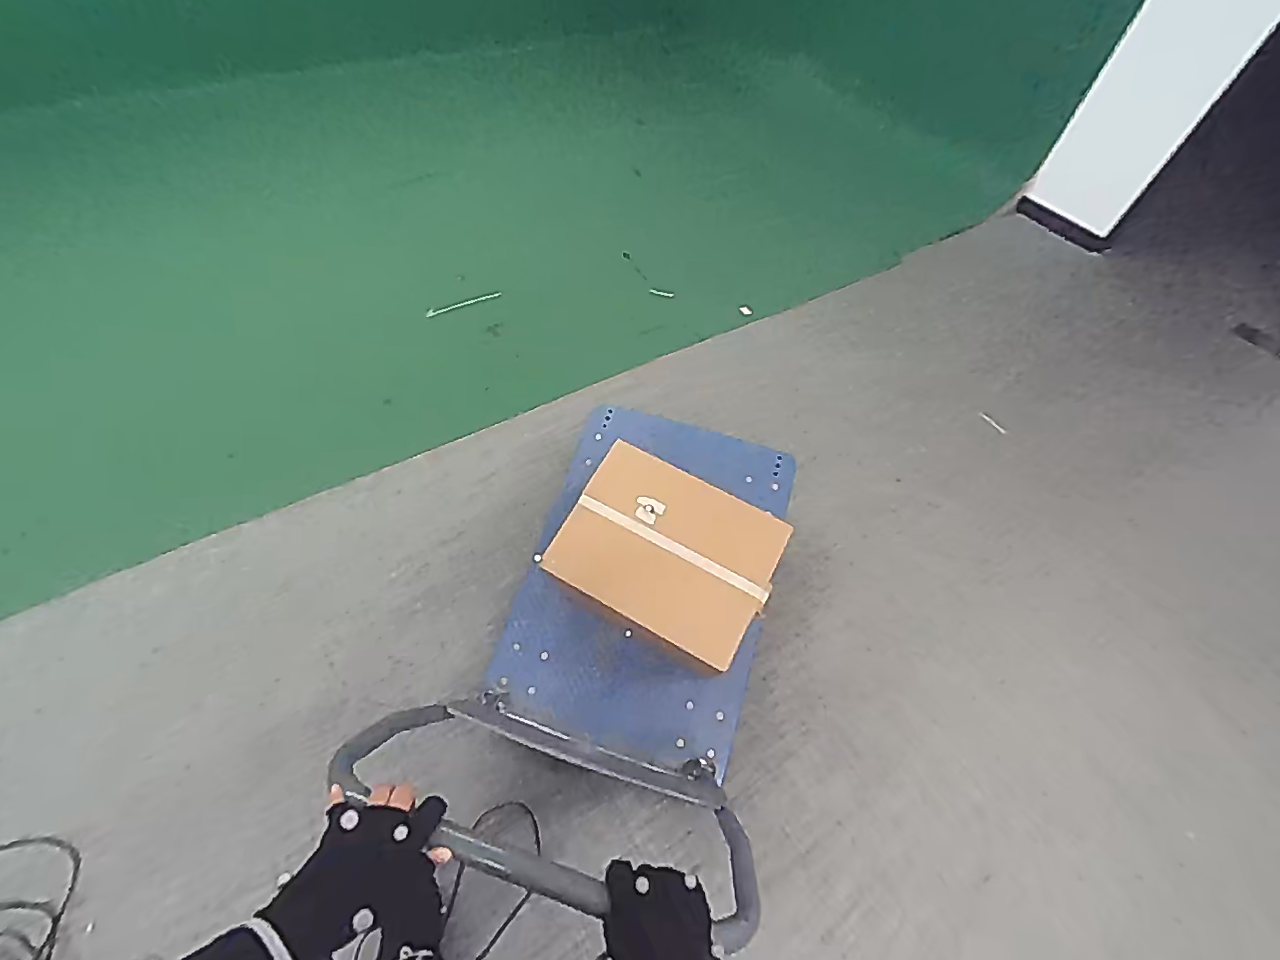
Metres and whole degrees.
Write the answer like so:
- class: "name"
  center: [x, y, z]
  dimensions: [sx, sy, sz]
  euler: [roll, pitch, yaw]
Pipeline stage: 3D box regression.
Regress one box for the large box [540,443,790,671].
- class: "large box"
  center: [0.058, 0.183, 1.189]
  dimensions: [0.408, 0.320, 0.320]
  euler: [27, 71, 12]
